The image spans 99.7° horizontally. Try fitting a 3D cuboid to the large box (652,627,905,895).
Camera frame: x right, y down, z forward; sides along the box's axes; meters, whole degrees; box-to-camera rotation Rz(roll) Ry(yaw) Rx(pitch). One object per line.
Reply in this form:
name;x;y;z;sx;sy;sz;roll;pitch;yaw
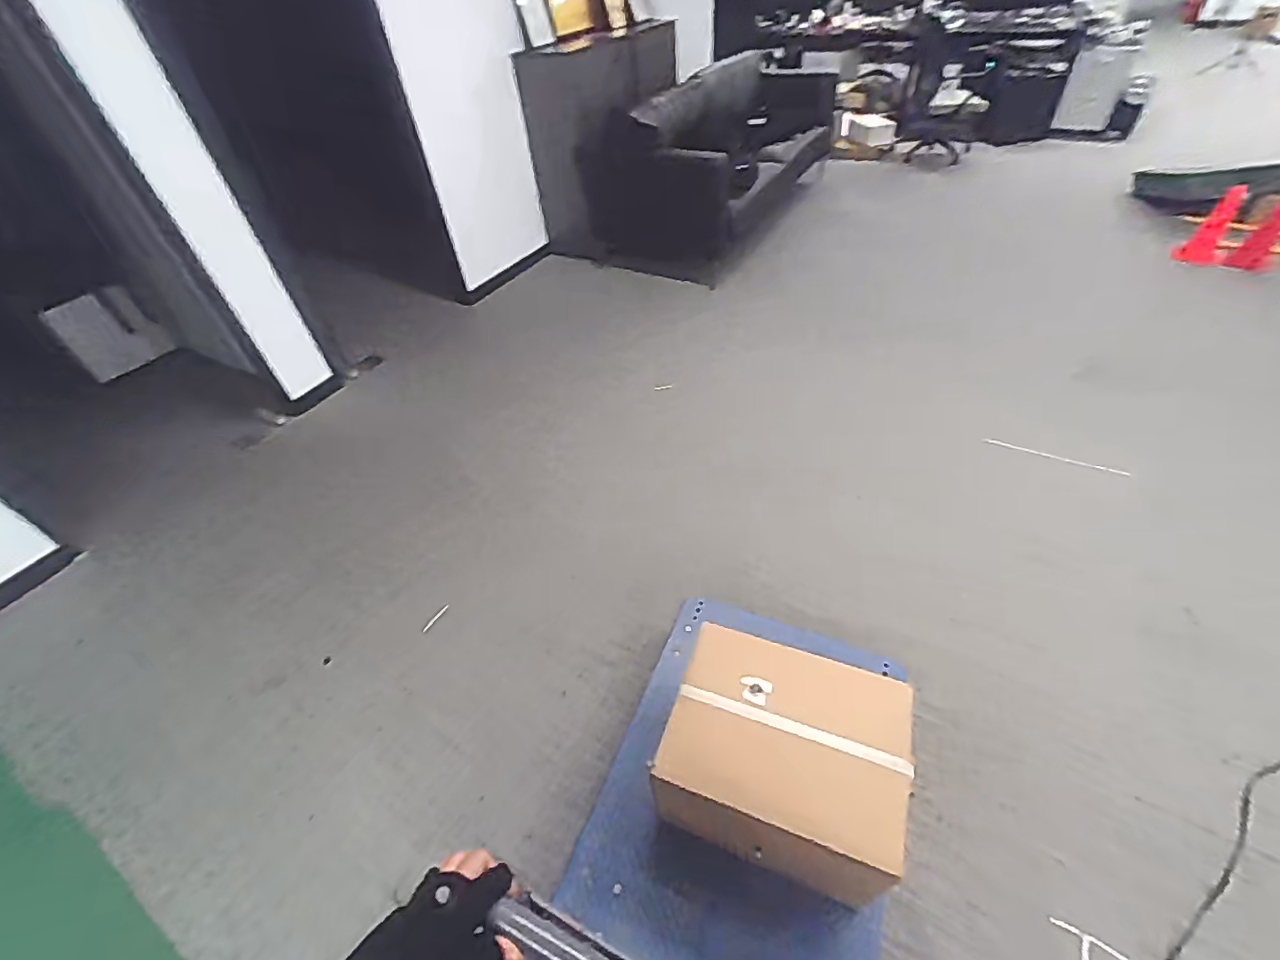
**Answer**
large box;0.274;0.549;1.075;0.408;0.320;0.320;12;47;19
